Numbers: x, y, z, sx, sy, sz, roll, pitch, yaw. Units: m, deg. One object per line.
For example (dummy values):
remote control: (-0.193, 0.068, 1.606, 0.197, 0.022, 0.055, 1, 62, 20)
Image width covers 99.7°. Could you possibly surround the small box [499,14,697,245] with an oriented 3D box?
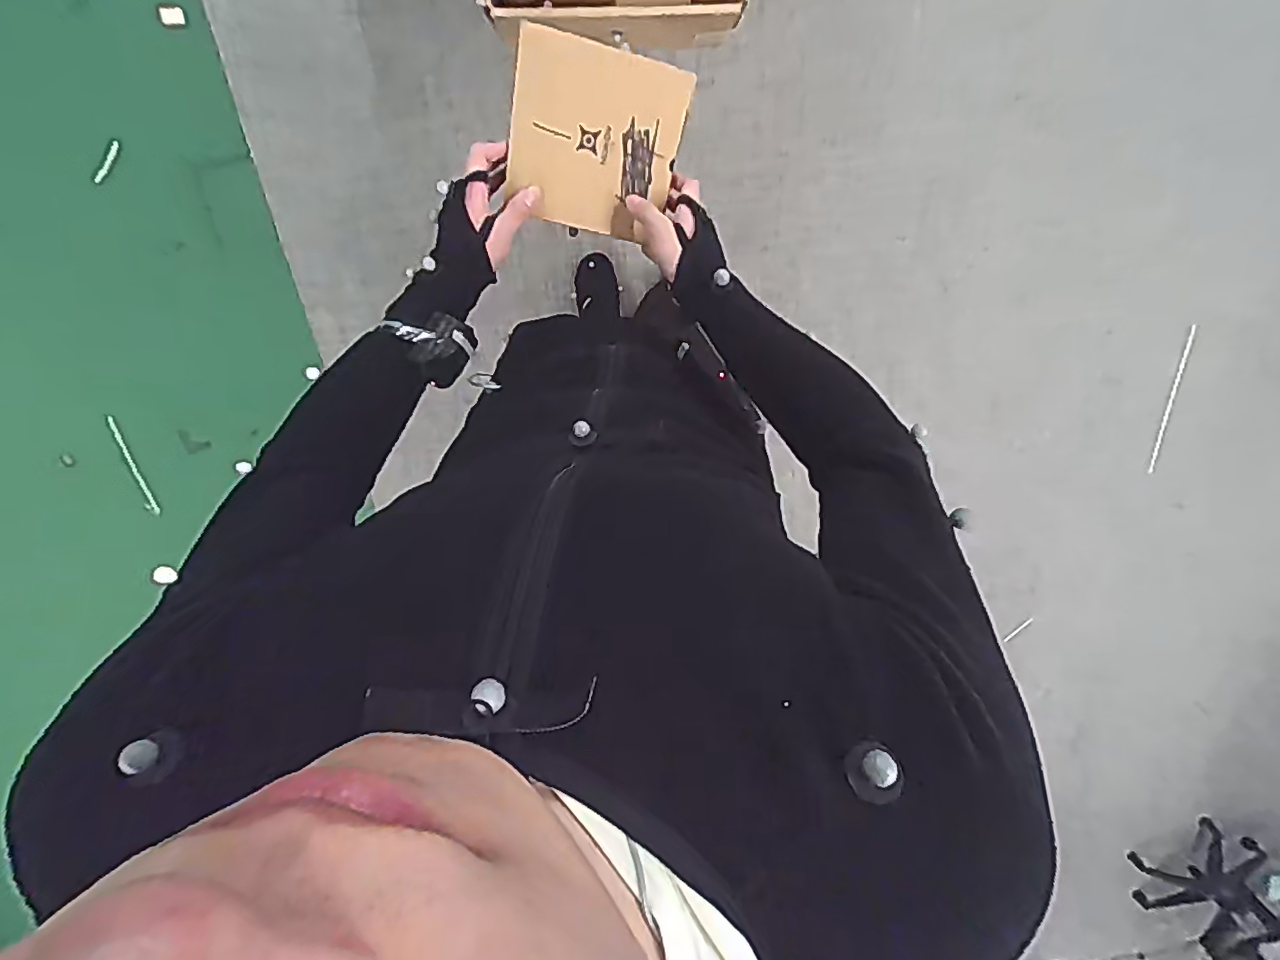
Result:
small box: (-0.055, -0.385, 0.618, 0.179, 0.176, 0.168, 9, 118, -12)
